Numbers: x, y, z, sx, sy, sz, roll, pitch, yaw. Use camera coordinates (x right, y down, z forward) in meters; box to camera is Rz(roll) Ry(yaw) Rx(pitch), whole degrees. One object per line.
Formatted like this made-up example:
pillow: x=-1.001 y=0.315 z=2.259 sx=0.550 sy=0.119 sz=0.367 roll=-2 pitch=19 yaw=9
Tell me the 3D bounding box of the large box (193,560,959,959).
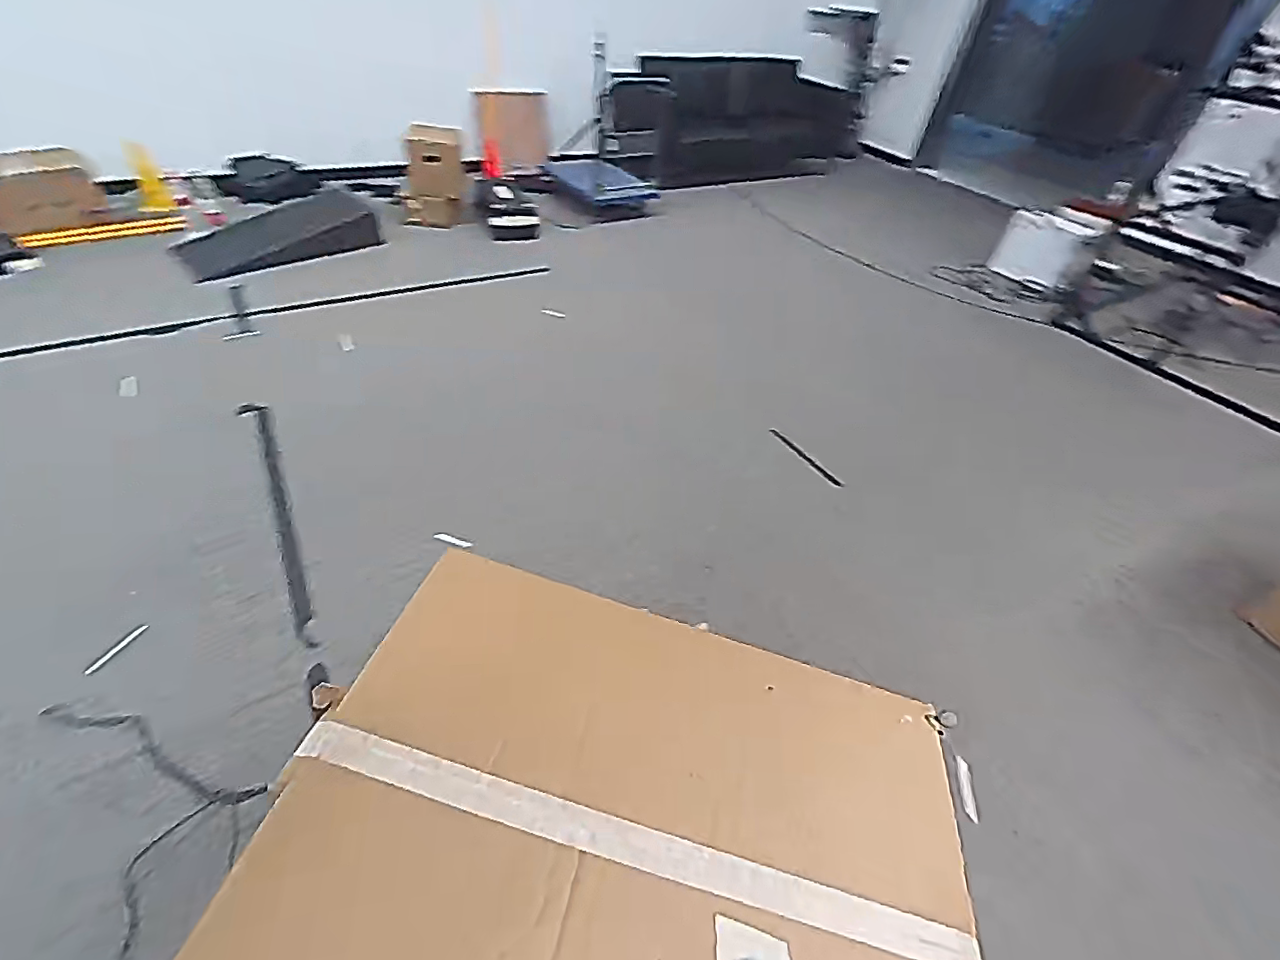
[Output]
large box: x=-0.035 y=0.323 z=0.424 sx=0.408 sy=0.320 sz=0.320 roll=18 pitch=43 yaw=0
